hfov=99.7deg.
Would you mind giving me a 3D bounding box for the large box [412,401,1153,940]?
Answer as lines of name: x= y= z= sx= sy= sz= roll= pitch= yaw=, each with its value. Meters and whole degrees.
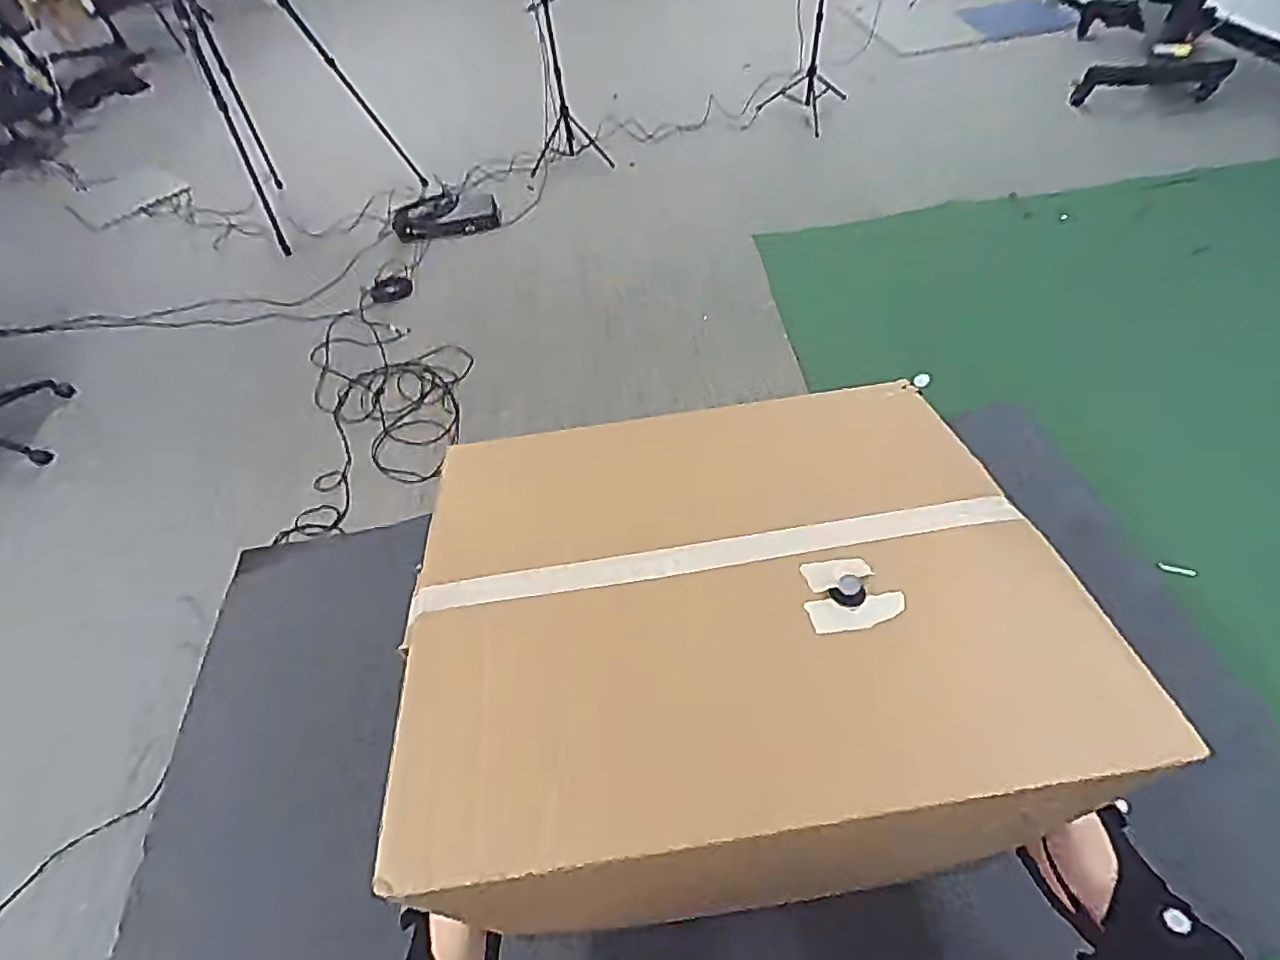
large box: x=0.069 y=0.168 z=0.486 sx=0.408 sy=0.320 sz=0.320 roll=-8 pitch=47 yaw=-2
